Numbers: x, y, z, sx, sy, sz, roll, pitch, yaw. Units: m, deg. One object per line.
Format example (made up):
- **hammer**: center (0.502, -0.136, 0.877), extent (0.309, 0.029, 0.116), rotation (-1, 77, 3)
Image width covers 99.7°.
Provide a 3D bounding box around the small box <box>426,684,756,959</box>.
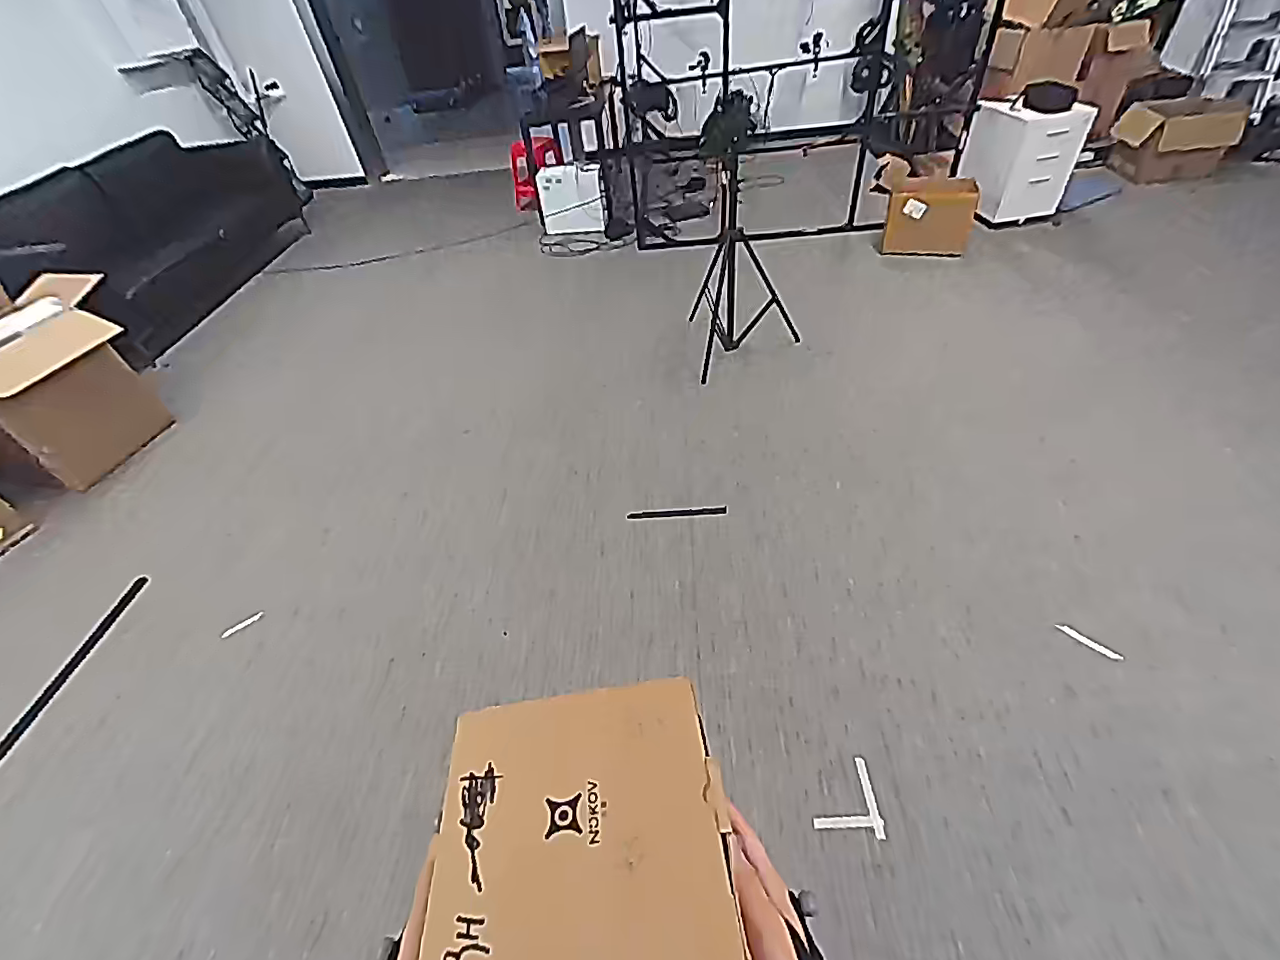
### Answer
- **small box**: center (-0.027, 0.273, 0.383), extent (0.179, 0.176, 0.168), rotation (-8, 37, -1)
